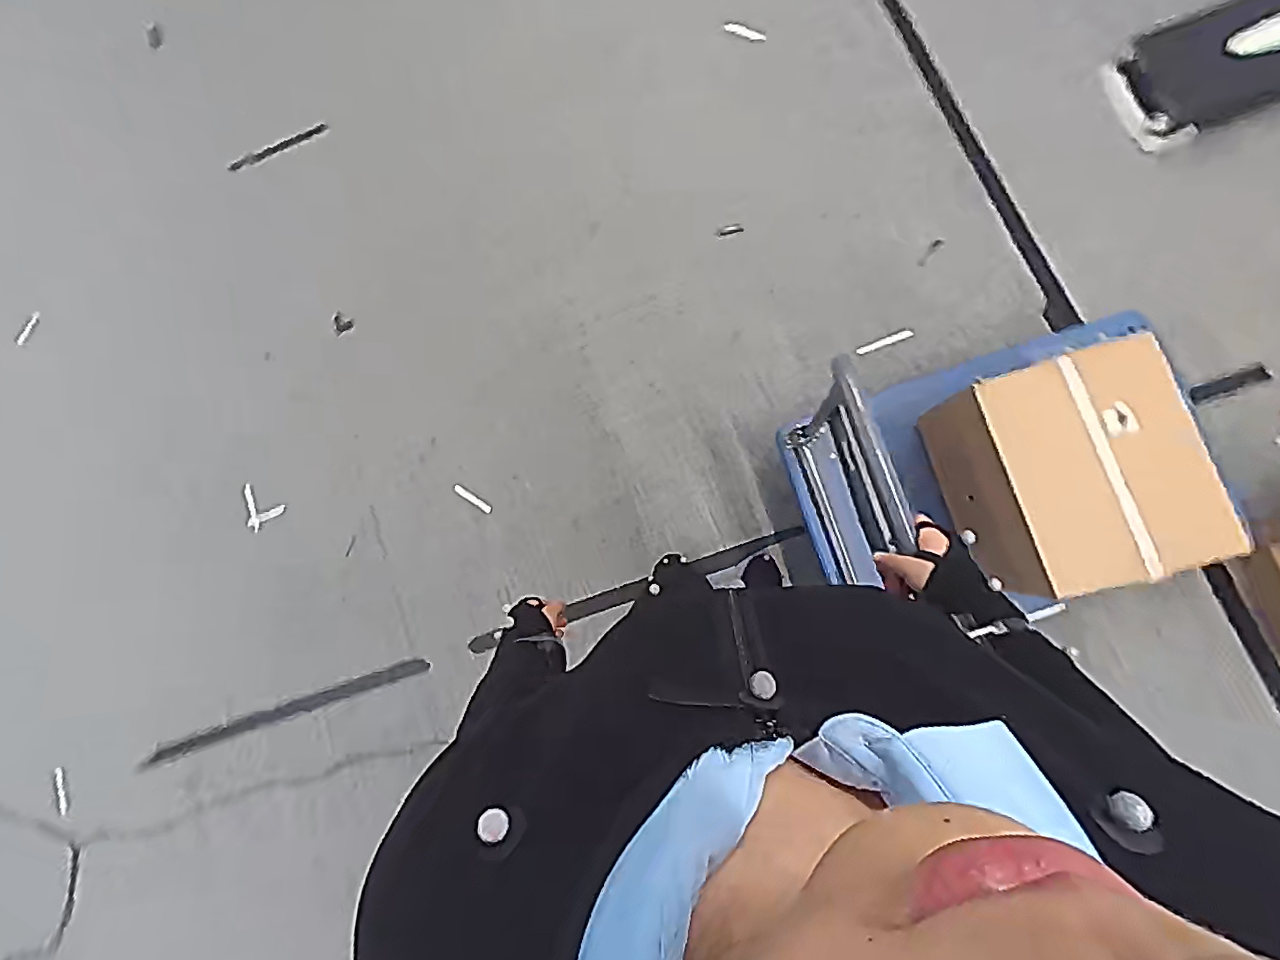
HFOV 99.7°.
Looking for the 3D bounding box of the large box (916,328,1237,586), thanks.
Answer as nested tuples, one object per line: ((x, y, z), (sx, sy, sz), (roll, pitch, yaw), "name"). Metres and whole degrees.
((0.832, -0.025, 1.106), (0.320, 0.320, 0.408), (-17, 80, 6), "large box")
